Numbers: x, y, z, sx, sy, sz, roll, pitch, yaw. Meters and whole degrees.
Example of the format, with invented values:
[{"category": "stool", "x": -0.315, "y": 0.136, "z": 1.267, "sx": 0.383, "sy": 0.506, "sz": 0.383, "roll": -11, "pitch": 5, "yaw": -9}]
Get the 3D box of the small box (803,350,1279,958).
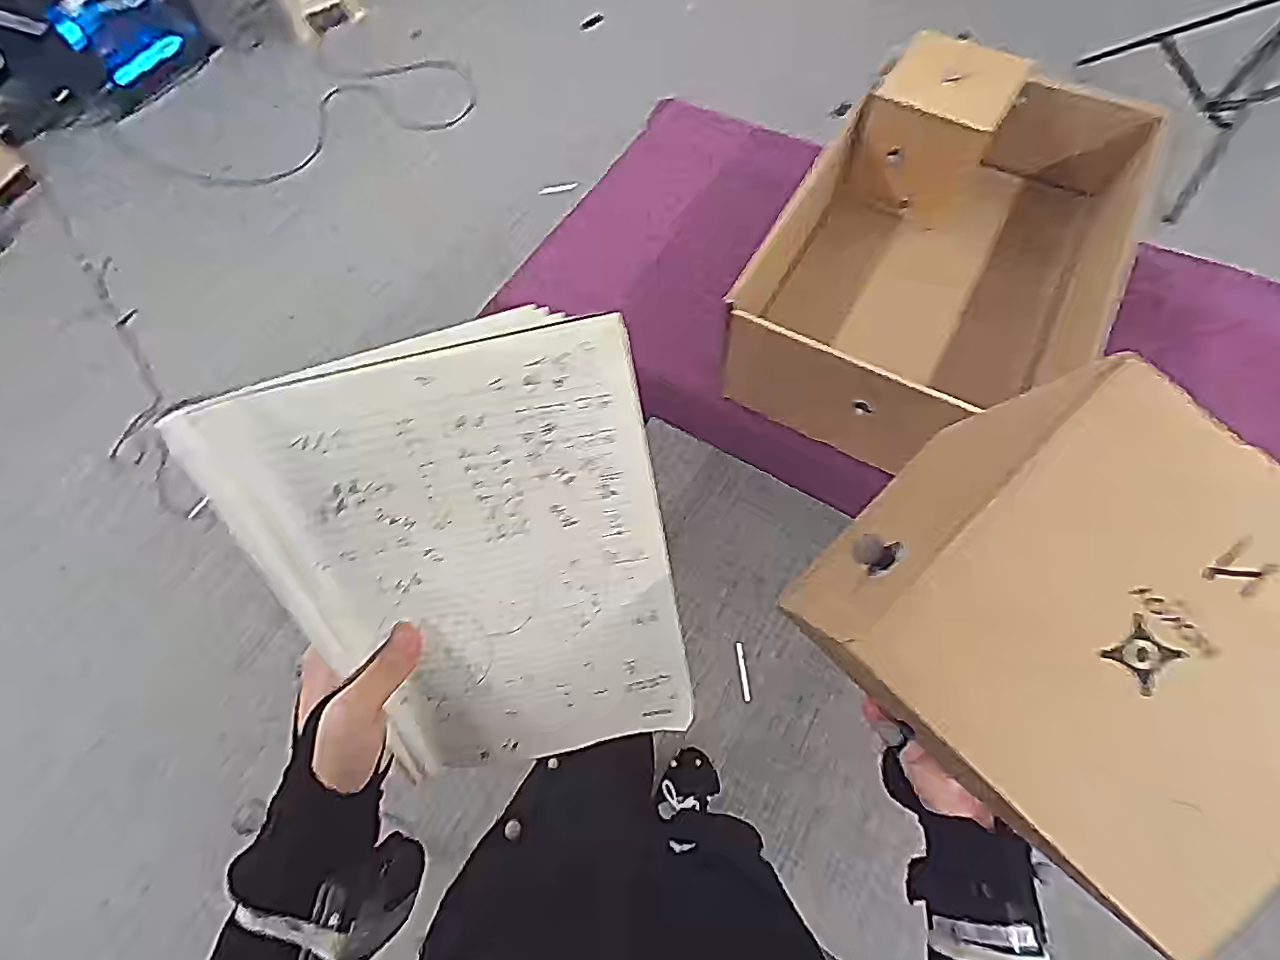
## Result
[{"category": "small box", "x": 0.210, "y": 0.071, "z": 0.291, "sx": 0.168, "sy": 0.176, "sz": 0.179, "roll": 44, "pitch": 87, "yaw": 7}]
